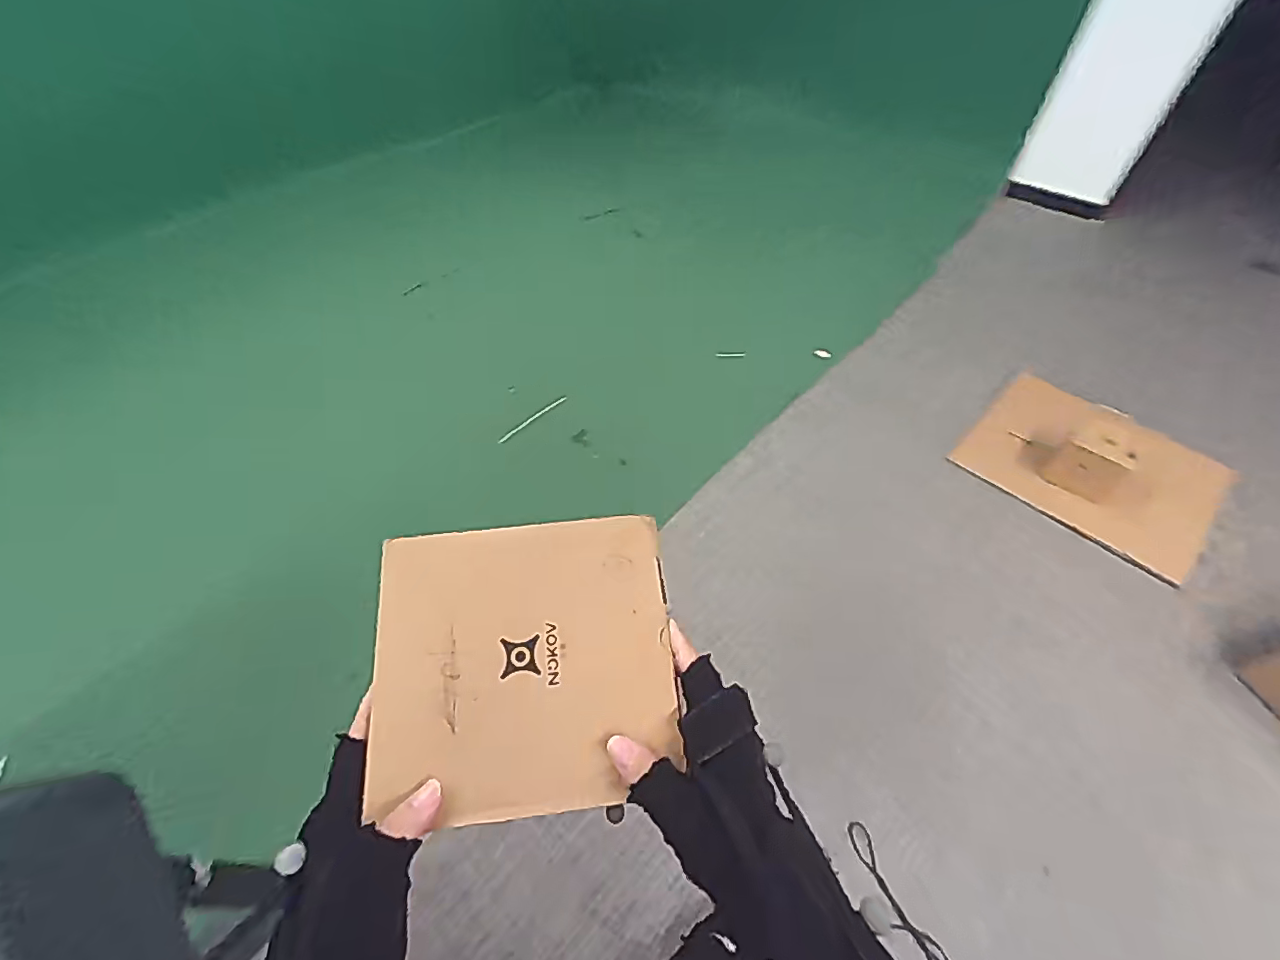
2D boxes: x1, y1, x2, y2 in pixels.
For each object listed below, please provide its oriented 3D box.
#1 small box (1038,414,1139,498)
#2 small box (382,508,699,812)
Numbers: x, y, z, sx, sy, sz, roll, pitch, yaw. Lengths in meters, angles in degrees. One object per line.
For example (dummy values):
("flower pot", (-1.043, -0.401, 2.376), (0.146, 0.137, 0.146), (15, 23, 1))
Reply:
("small box", (1.409, -0.072, 1.707), (0.179, 0.176, 0.168), (32, 57, 25))
("small box", (-0.064, 0.134, 0.401), (0.179, 0.176, 0.168), (-6, 63, -4))
